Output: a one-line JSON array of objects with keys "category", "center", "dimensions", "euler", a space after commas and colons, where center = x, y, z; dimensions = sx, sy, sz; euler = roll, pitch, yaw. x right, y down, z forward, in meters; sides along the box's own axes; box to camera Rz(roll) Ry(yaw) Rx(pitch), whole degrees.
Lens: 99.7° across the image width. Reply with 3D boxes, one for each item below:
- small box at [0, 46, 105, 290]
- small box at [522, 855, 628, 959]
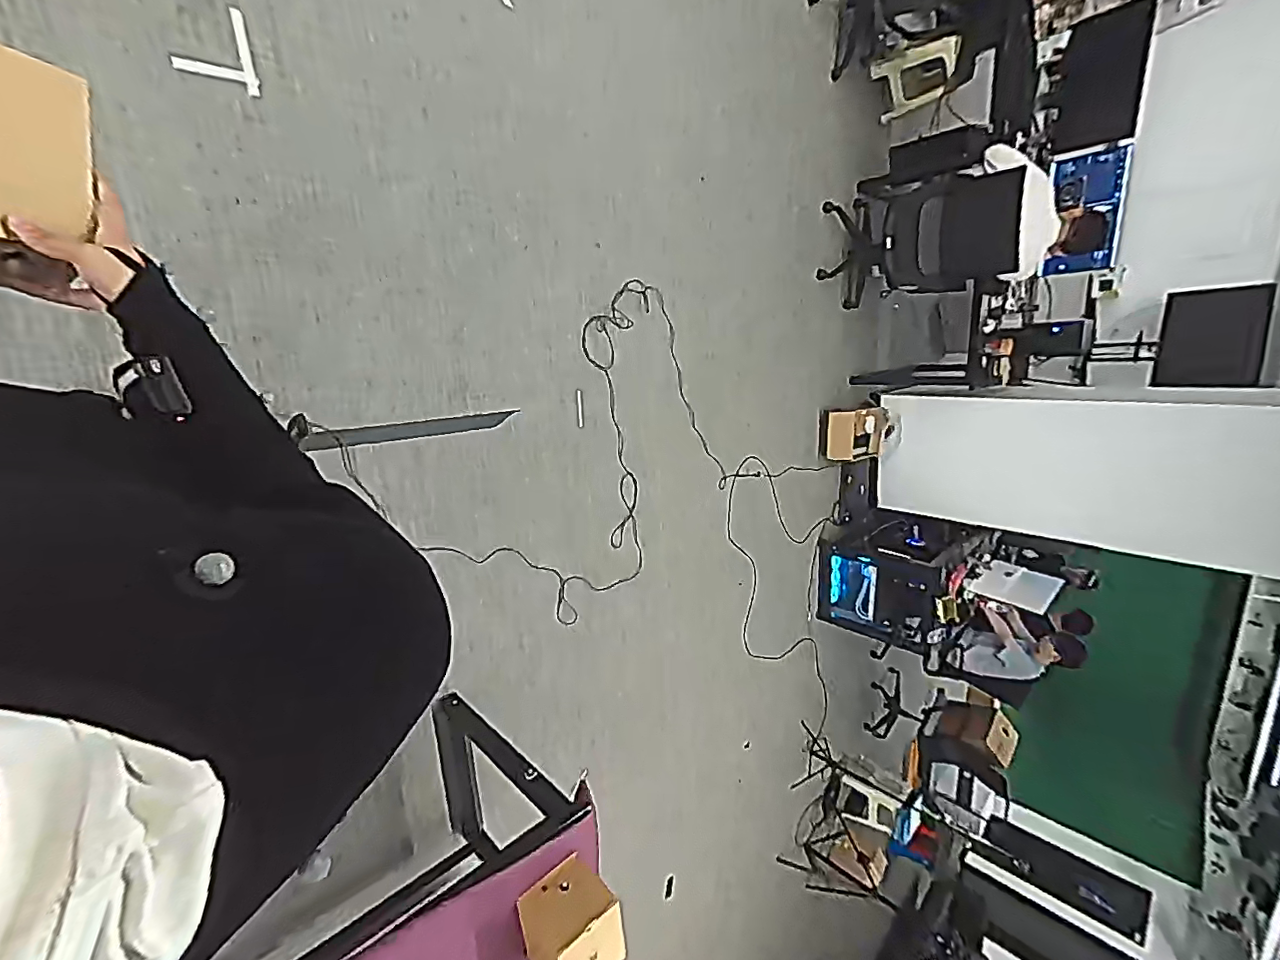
[{"category": "small box", "center": [-0.612, -0.279, 0.474], "dimensions": [0.179, 0.176, 0.168], "euler": [-2, 91, -54]}, {"category": "small box", "center": [-0.148, 1.015, 1.229], "dimensions": [0.168, 0.176, 0.179], "euler": [-19, 110, -38]}]
